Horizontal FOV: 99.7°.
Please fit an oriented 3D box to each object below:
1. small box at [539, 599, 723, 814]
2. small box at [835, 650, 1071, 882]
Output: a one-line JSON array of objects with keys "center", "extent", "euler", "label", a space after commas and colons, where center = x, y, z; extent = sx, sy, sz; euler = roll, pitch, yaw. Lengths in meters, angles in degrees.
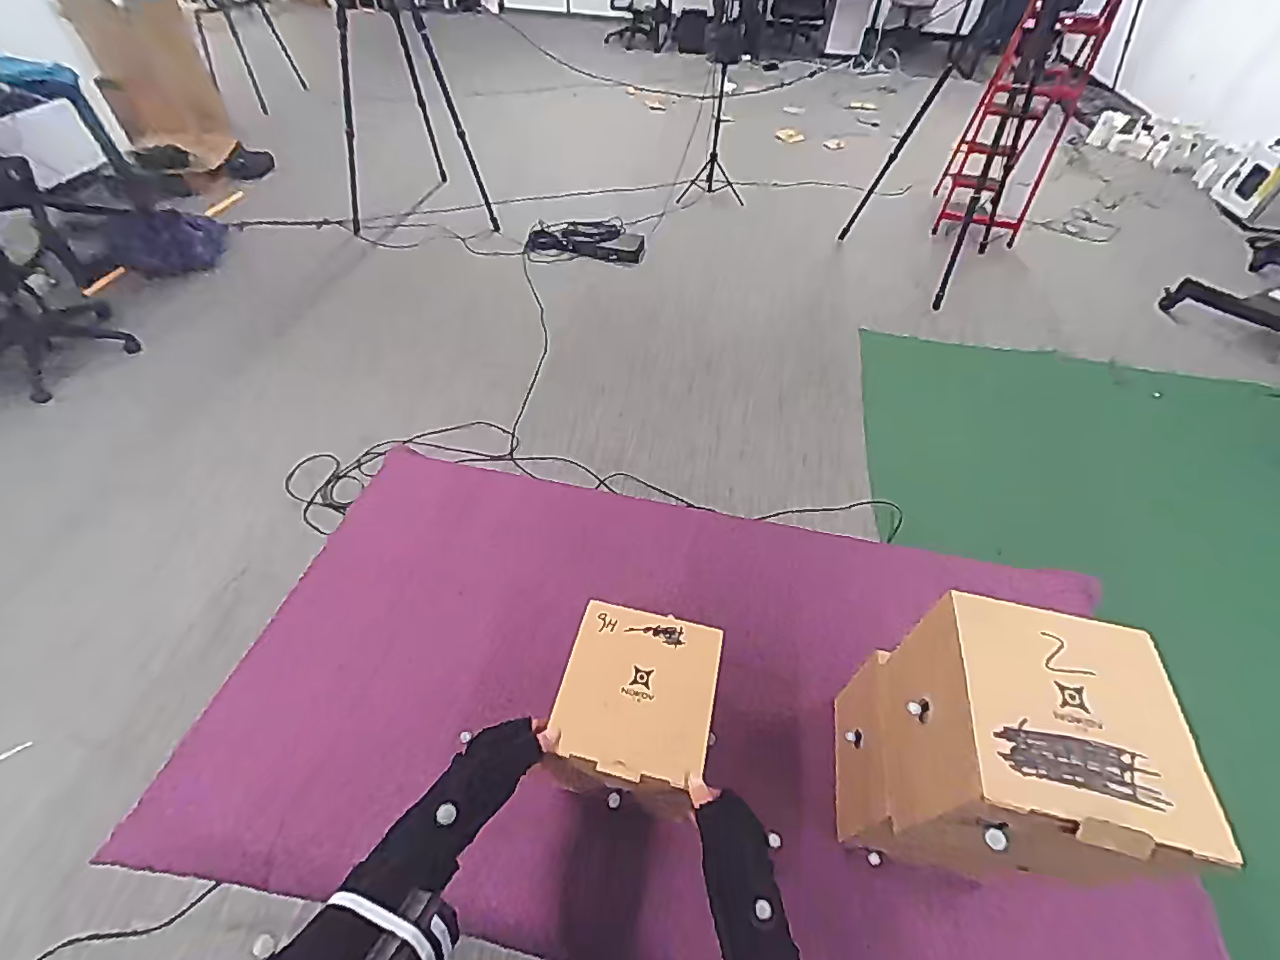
[{"center": [-0.004, 0.273, 0.645], "extent": [0.168, 0.176, 0.179], "euler": [12, 51, 7], "label": "small box"}, {"center": [0.331, 0.327, 0.612], "extent": [0.168, 0.176, 0.179], "euler": [15, 51, 7], "label": "small box"}]
